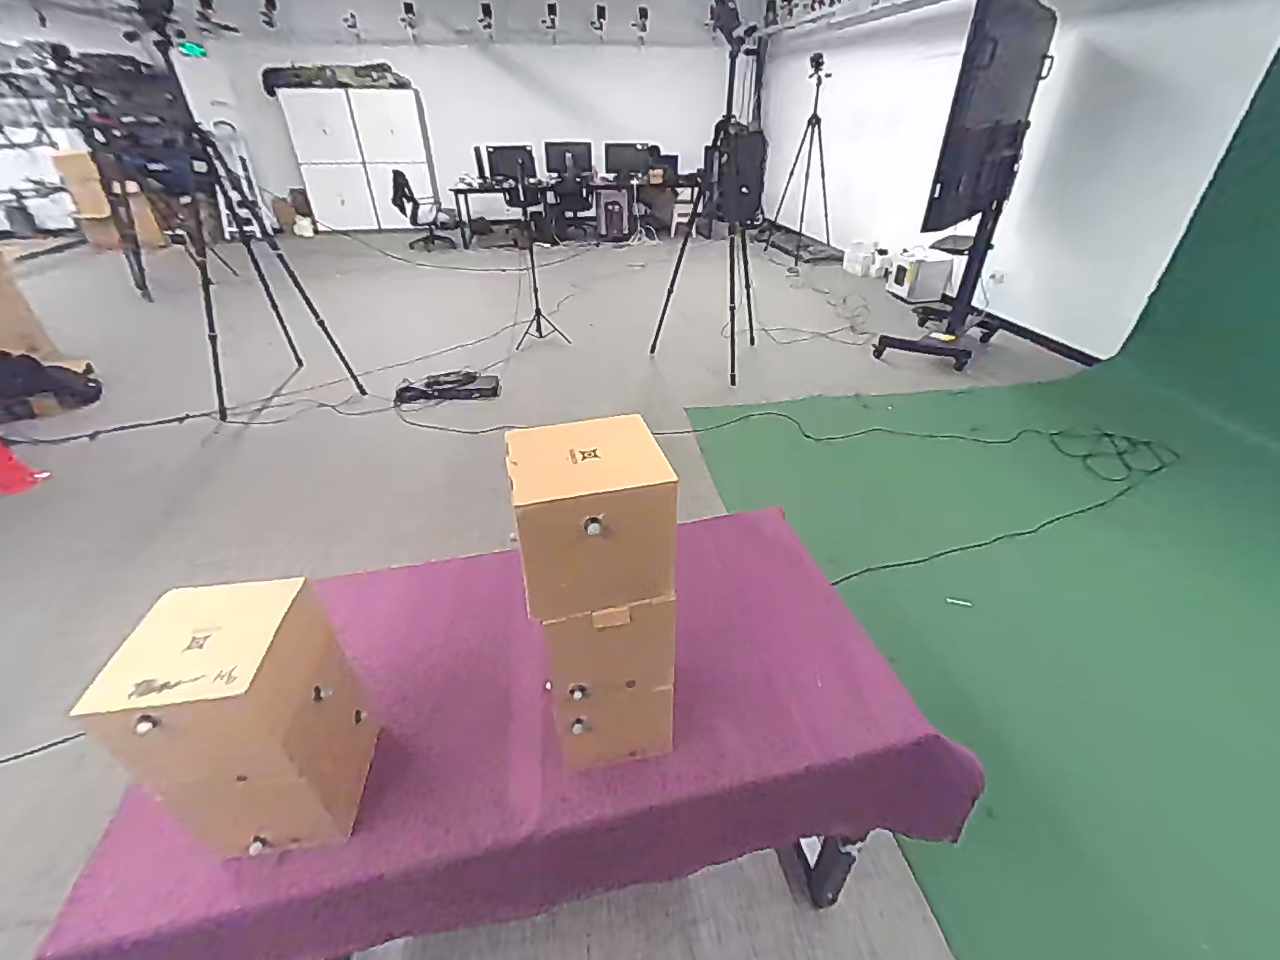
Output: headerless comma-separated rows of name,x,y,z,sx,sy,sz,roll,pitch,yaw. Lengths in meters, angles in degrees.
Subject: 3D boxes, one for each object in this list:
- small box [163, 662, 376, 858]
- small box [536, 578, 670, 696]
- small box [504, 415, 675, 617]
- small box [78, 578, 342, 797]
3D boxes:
small box,-0.489,0.384,0.752,0.168,0.176,0.179,-5,35,-6
small box,-0.057,0.177,0.754,0.168,0.176,0.179,-8,33,-11
small box,-0.064,0.041,0.664,0.179,0.176,0.168,-10,34,-11
small box,-0.492,0.247,0.660,0.168,0.176,0.179,-6,33,-5
